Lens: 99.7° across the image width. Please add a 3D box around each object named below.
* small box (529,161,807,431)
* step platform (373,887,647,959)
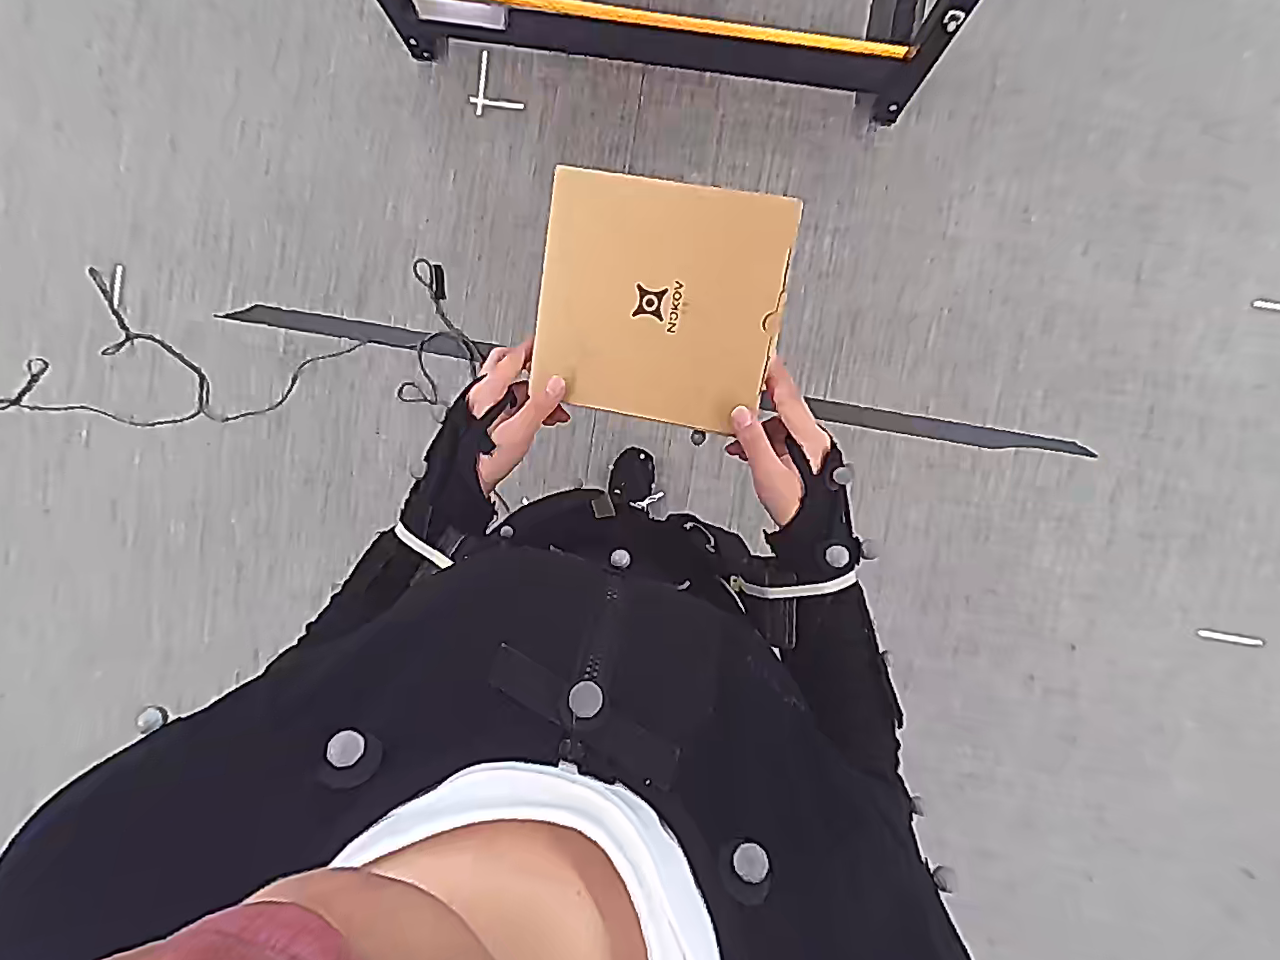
[{"bbox_3d":[0.025,-0.143,0.462,0.179,0.176,0.168,11,102,6],"label":"small box"},{"bbox_3d":[-0.326,1.274,1.346,0.684,0.204,0.286,9,94,1],"label":"step platform"}]
